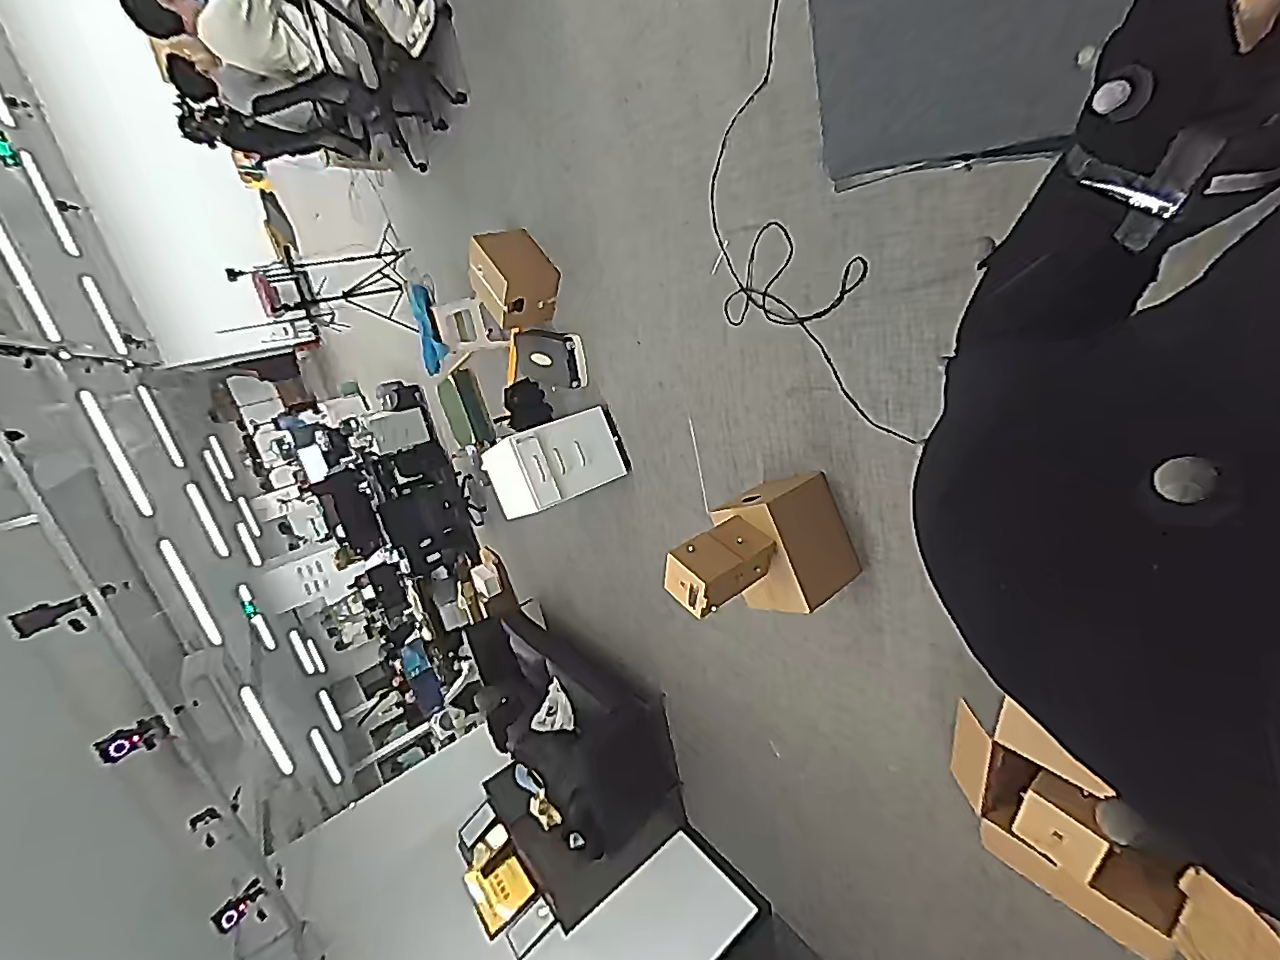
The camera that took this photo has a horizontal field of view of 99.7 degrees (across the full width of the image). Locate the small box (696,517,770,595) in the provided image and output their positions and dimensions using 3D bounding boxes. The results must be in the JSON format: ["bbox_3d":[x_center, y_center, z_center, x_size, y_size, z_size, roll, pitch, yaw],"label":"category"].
[{"bbox_3d":[0.318,0.253,1.850,0.179,0.176,0.168,36,137,36],"label":"small box"}]

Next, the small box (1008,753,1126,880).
[{"bbox_3d":[1.063,0.827,1.347,0.168,0.176,0.179,30,134,48],"label":"small box"}]
